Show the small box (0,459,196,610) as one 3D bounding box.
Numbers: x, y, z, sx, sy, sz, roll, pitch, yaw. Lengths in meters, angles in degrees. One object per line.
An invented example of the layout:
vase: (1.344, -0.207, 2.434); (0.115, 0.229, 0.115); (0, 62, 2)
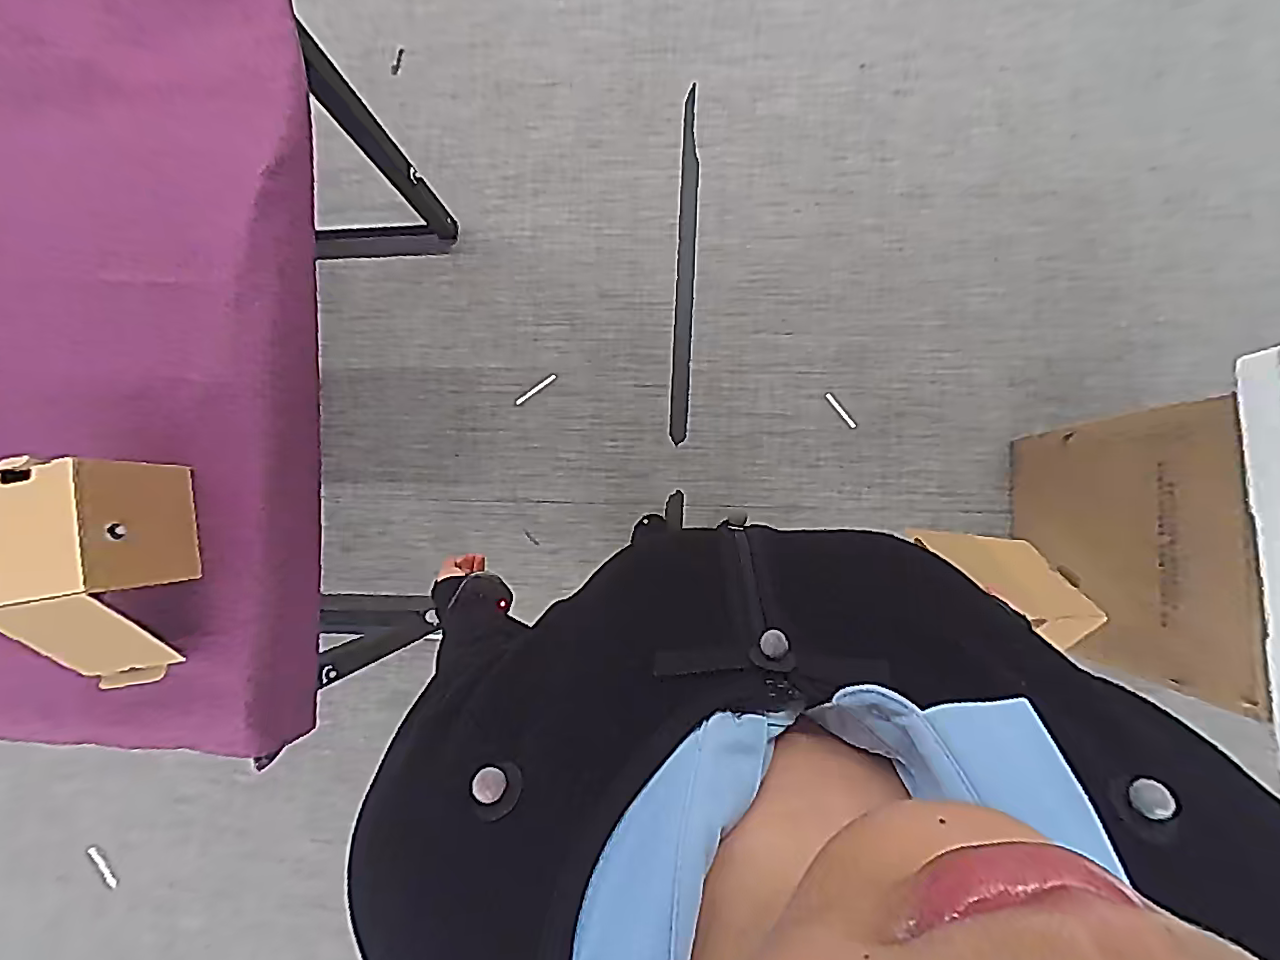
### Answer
small box: (-0.766, 0.073, 0.752); (0.168, 0.176, 0.179); (-9, 86, 3)
